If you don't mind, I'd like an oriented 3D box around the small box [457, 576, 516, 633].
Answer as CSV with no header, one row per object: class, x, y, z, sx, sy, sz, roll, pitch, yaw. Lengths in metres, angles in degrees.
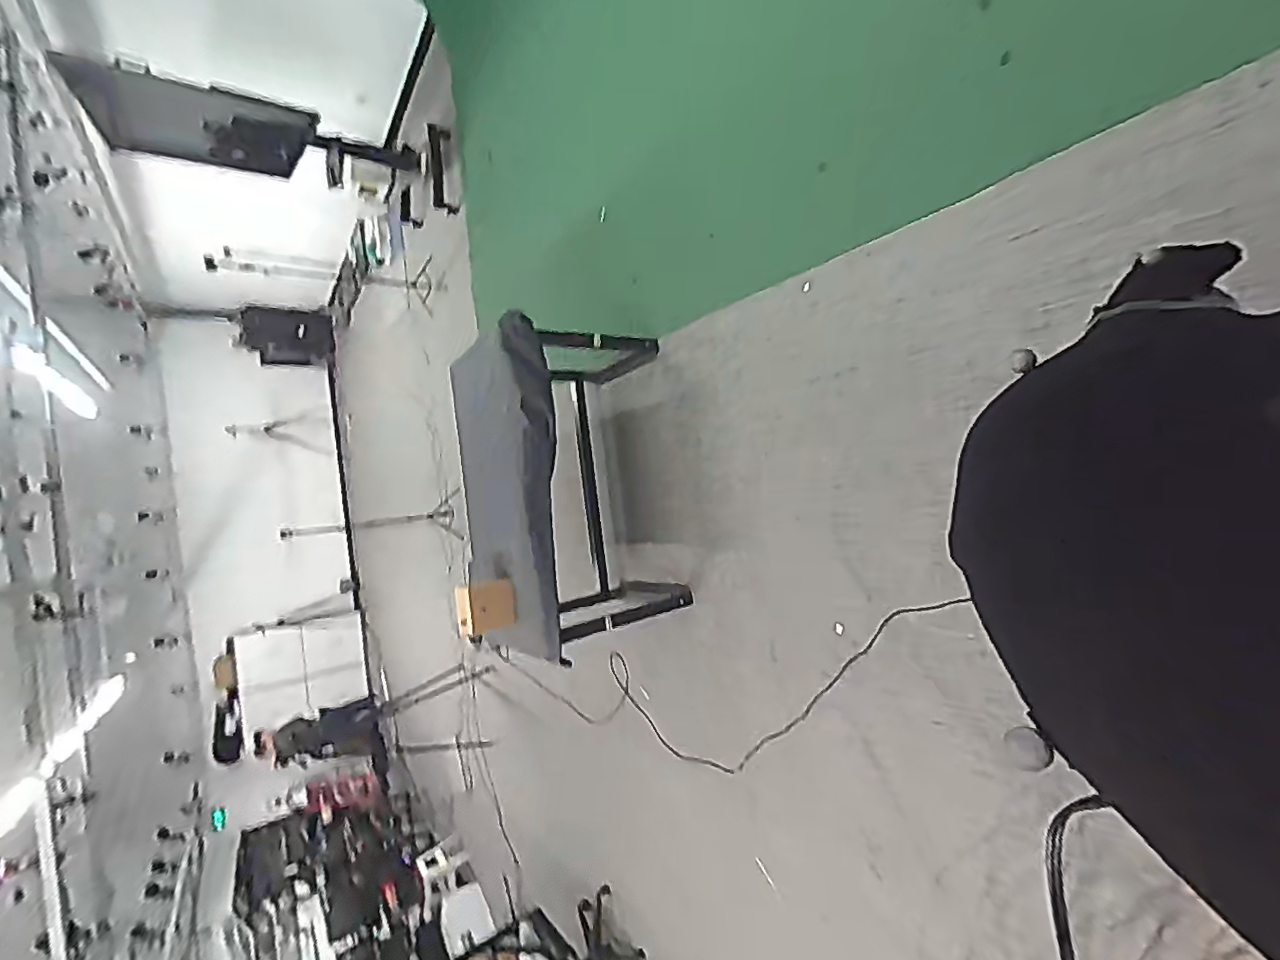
small box,-0.588,0.473,2.074,0.168,0.176,0.179,-13,84,53
